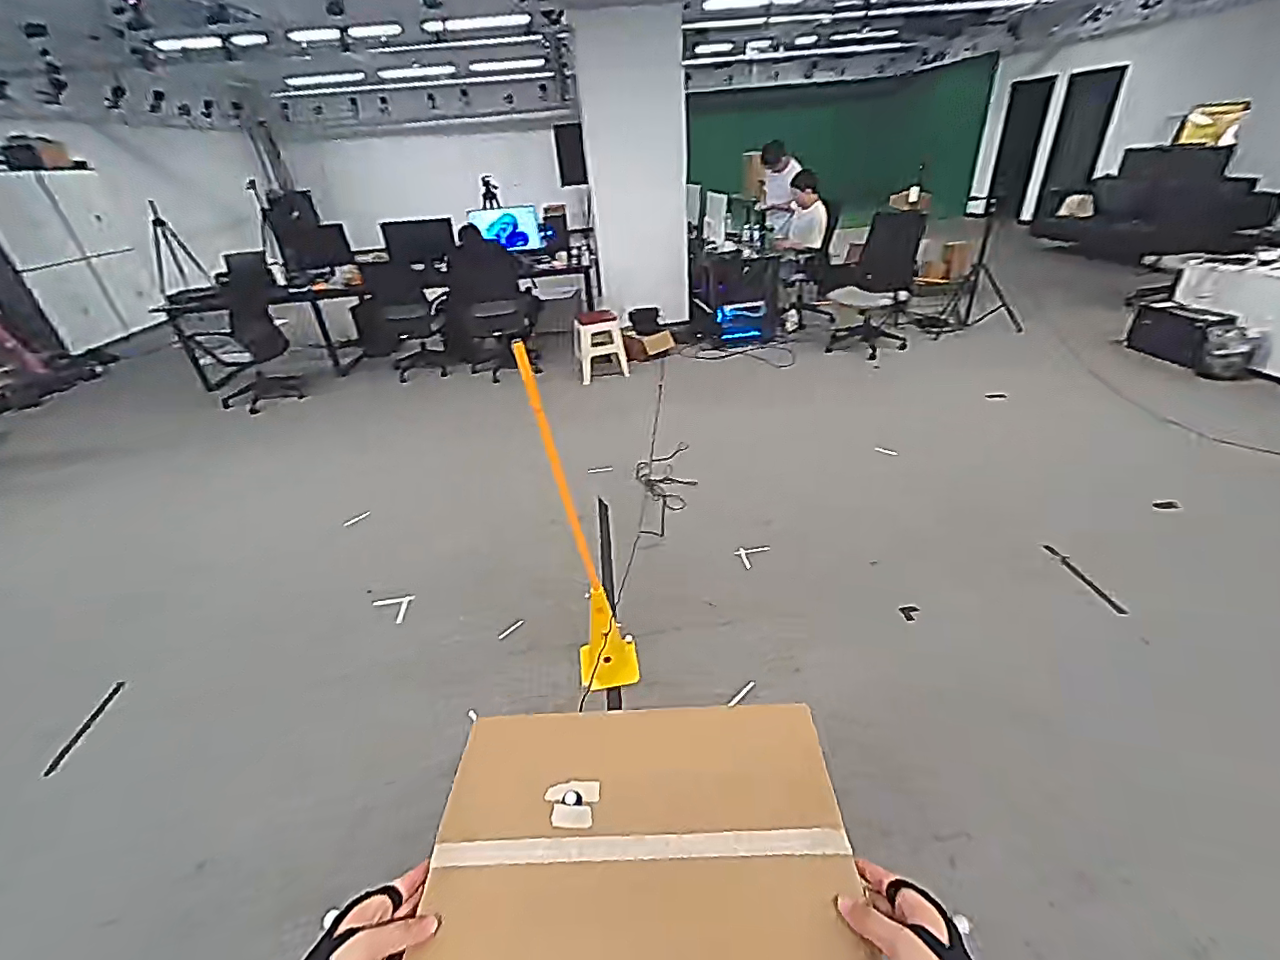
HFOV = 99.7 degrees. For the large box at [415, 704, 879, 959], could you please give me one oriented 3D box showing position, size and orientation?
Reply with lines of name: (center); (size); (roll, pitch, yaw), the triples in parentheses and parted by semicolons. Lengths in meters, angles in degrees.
large box: (0.016, 0.494, 0.605); (0.408, 0.320, 0.320); (-5, 30, 3)
